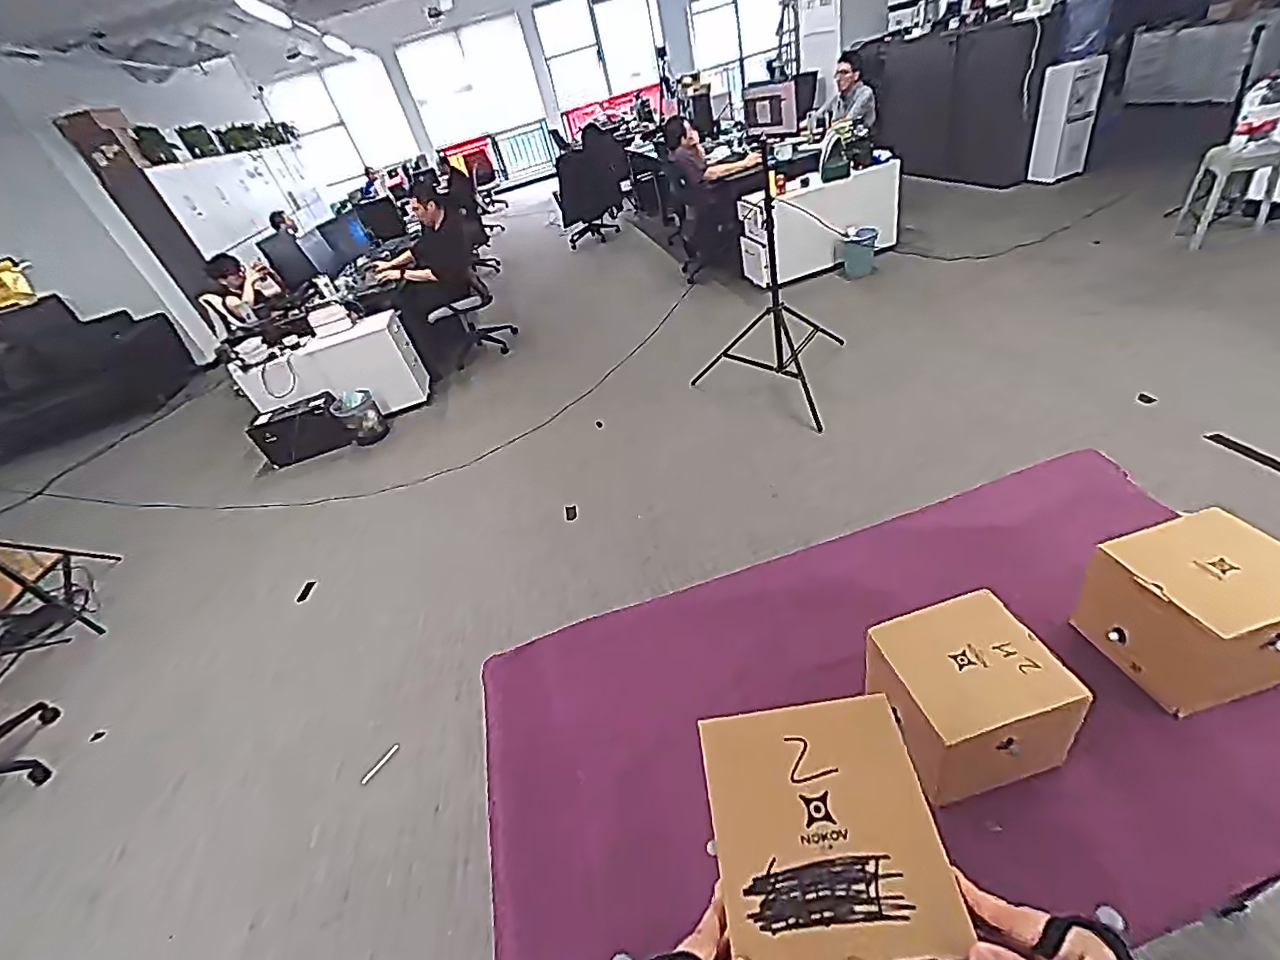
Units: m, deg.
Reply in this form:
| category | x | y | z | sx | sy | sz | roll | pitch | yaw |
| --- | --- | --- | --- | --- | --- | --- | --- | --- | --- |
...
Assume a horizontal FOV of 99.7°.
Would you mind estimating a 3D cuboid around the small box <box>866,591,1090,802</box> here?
| category | x | y | z | sx | sy | sz | roll | pitch | yaw |
| --- | --- | --- | --- | --- | --- | --- | --- | --- | --- |
| small box | 0.416 | 0.280 | 0.698 | 0.179 | 0.176 | 0.168 | -18 | 36 | -1 |

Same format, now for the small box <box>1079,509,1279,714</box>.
| category | x | y | z | sx | sy | sz | roll | pitch | yaw |
| --- | --- | --- | --- | --- | --- | --- | --- | --- | --- |
| small box | 0.734 | 0.172 | 0.711 | 0.179 | 0.176 | 0.168 | -18 | 35 | 0 |
